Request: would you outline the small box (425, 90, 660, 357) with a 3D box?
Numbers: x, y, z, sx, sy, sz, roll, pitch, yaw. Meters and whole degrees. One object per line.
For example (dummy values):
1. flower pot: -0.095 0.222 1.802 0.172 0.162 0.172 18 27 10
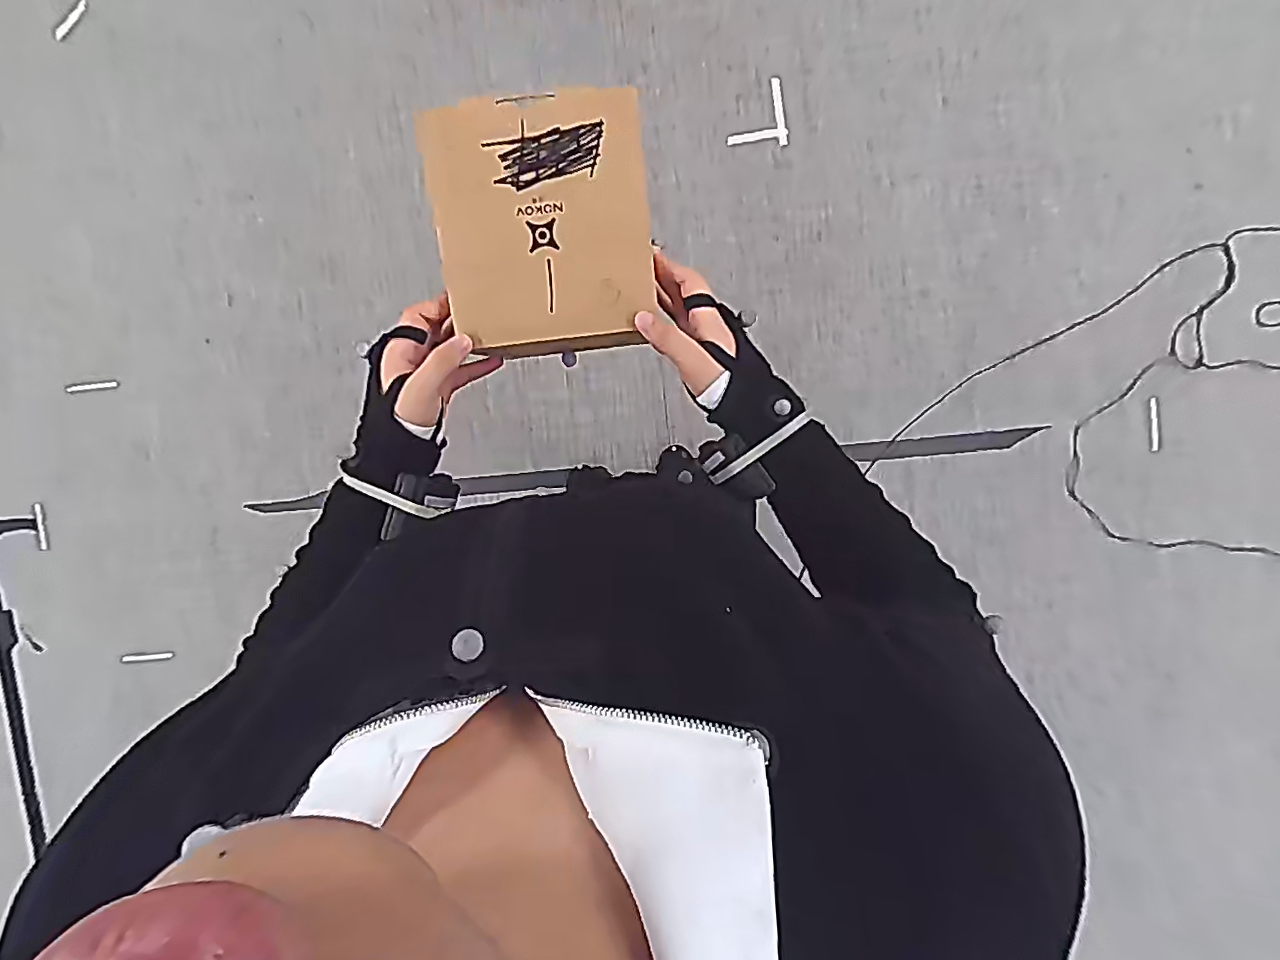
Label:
1. small box: -0.075 -0.213 0.496 0.168 0.176 0.179 -6 101 0
